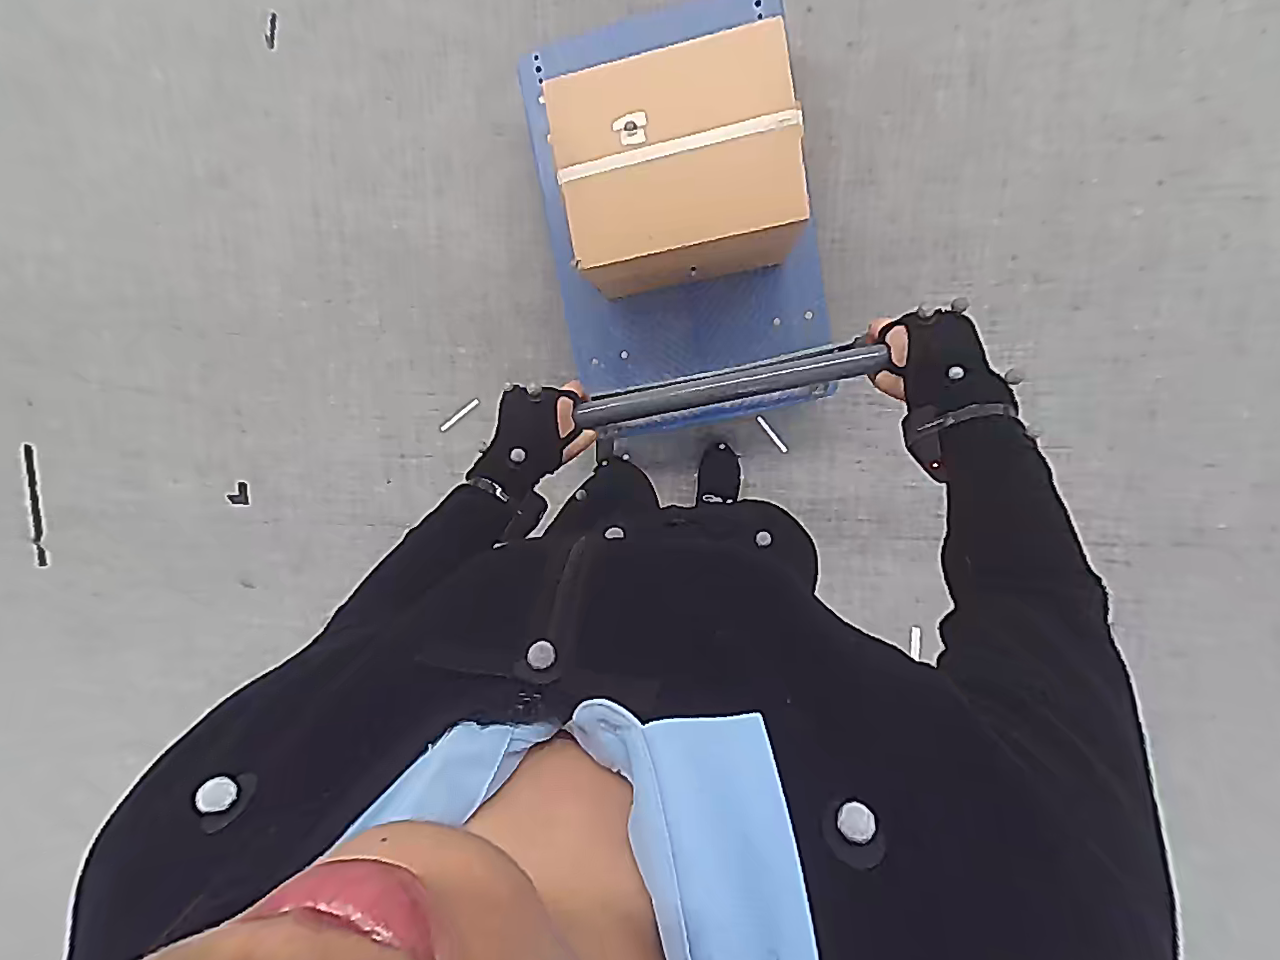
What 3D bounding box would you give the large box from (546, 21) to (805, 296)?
[{"bbox_3d":[0.078,-0.582,1.065,0.408,0.320,0.320,-10,97,9],"label":"large box"}]
